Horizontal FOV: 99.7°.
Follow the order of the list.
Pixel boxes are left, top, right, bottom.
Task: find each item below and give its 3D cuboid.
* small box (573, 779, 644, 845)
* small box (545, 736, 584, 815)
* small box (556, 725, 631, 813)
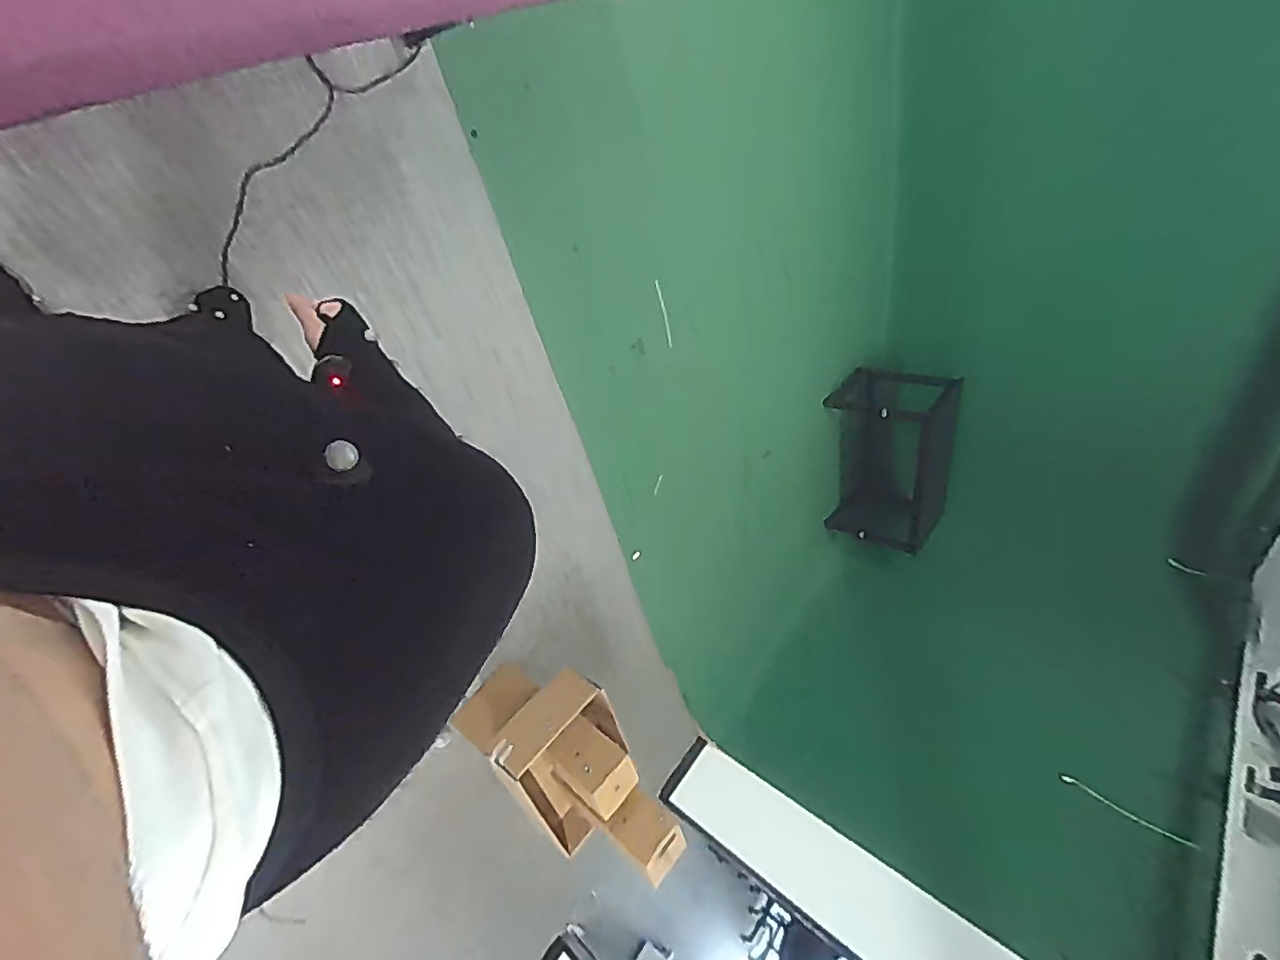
[{"bbox_3d":[-0.114,1.152,1.945,0.168,0.176,0.179,-40,131,-31],"label":"small box"},{"bbox_3d":[-0.232,1.113,2.050,0.168,0.176,0.179,-40,131,-32],"label":"small box"},{"bbox_3d":[-0.158,0.953,1.803,0.168,0.176,0.179,-39,133,-32],"label":"small box"}]
